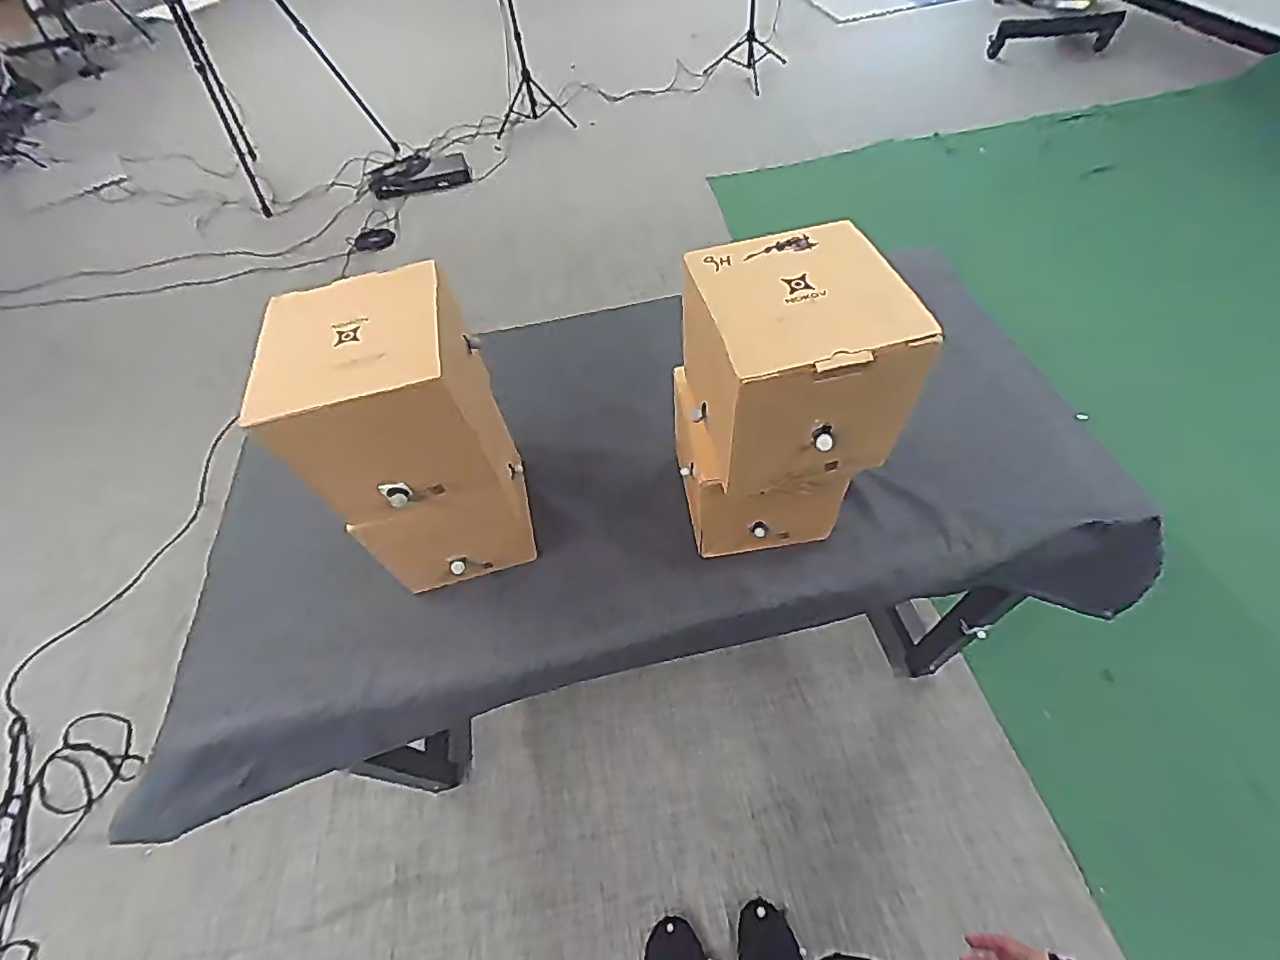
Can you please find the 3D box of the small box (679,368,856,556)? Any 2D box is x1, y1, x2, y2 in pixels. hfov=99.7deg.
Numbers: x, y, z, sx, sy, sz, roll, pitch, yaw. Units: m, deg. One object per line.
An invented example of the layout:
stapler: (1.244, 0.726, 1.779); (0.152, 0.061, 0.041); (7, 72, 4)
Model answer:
small box: (0.142, -0.030, 0.670); (0.168, 0.176, 0.179); (-9, 54, -1)

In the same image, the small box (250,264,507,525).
small box: (-0.245, -0.082, 0.549); (0.168, 0.176, 0.179); (-16, 55, -3)

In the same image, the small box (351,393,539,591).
small box: (-0.235, 0.013, 0.680); (0.168, 0.176, 0.179); (-15, 55, -4)

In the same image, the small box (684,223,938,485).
small box: (0.145, -0.112, 0.527); (0.168, 0.176, 0.179); (-13, 55, -3)
